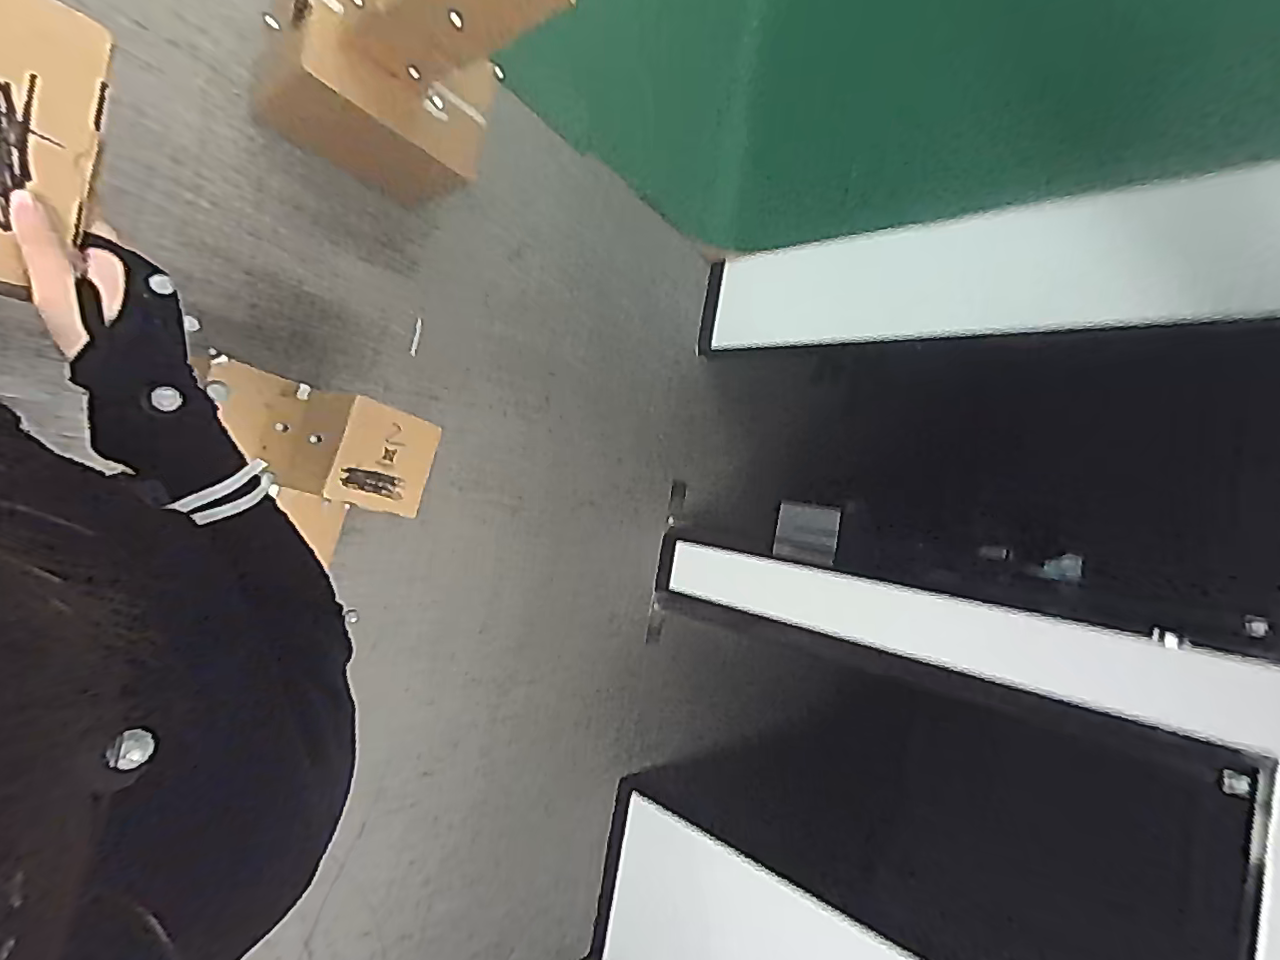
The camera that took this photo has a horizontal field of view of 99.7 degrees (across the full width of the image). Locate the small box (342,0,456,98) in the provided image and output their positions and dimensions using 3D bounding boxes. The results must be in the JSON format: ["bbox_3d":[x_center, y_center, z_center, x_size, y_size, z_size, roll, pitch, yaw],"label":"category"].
[{"bbox_3d":[-0.479,-0.931,1.100,0.168,0.176,0.179,11,86,-52],"label":"small box"}]

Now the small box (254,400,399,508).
[{"bbox_3d":[-0.621,-0.051,1.069,0.179,0.176,0.168,24,77,-53],"label":"small box"}]

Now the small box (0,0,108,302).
[{"bbox_3d":[-0.452,-0.212,0.309,0.179,0.176,0.168,9,92,-53],"label":"small box"}]

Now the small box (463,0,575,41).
[{"bbox_3d":[-0.219,-0.894,0.903,0.179,0.176,0.168,8,90,-52],"label":"small box"}]

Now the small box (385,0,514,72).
[{"bbox_3d":[-0.347,-0.912,1.005,0.179,0.176,0.168,5,93,-53],"label":"small box"}]

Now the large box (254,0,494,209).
[{"bbox_3d":[-0.631,-0.929,1.305,0.408,0.320,0.320,13,86,-53],"label":"large box"}]
